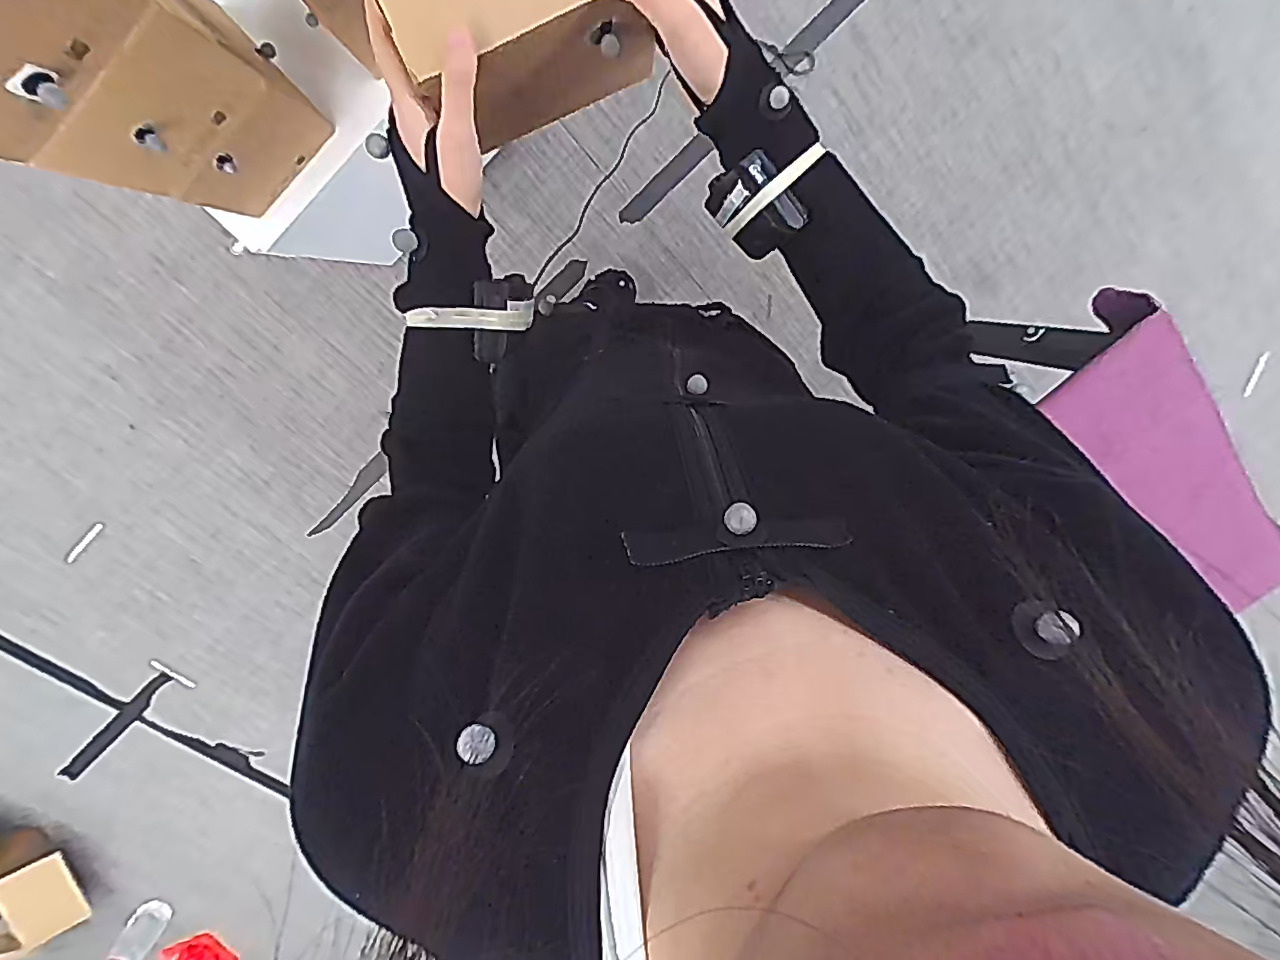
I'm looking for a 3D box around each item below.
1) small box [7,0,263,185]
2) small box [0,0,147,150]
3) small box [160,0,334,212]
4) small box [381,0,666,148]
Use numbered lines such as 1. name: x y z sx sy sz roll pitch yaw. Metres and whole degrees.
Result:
1. small box: -0.479 -0.382 0.460 0.168 0.176 0.179 -43 108 9
2. small box: -0.462 -0.331 0.307 0.168 0.176 0.179 -43 109 10
3. small box: -0.499 -0.437 0.613 0.168 0.176 0.179 -42 108 8
4. small box: -0.092 -0.371 0.379 0.179 0.176 0.168 -22 107 4
